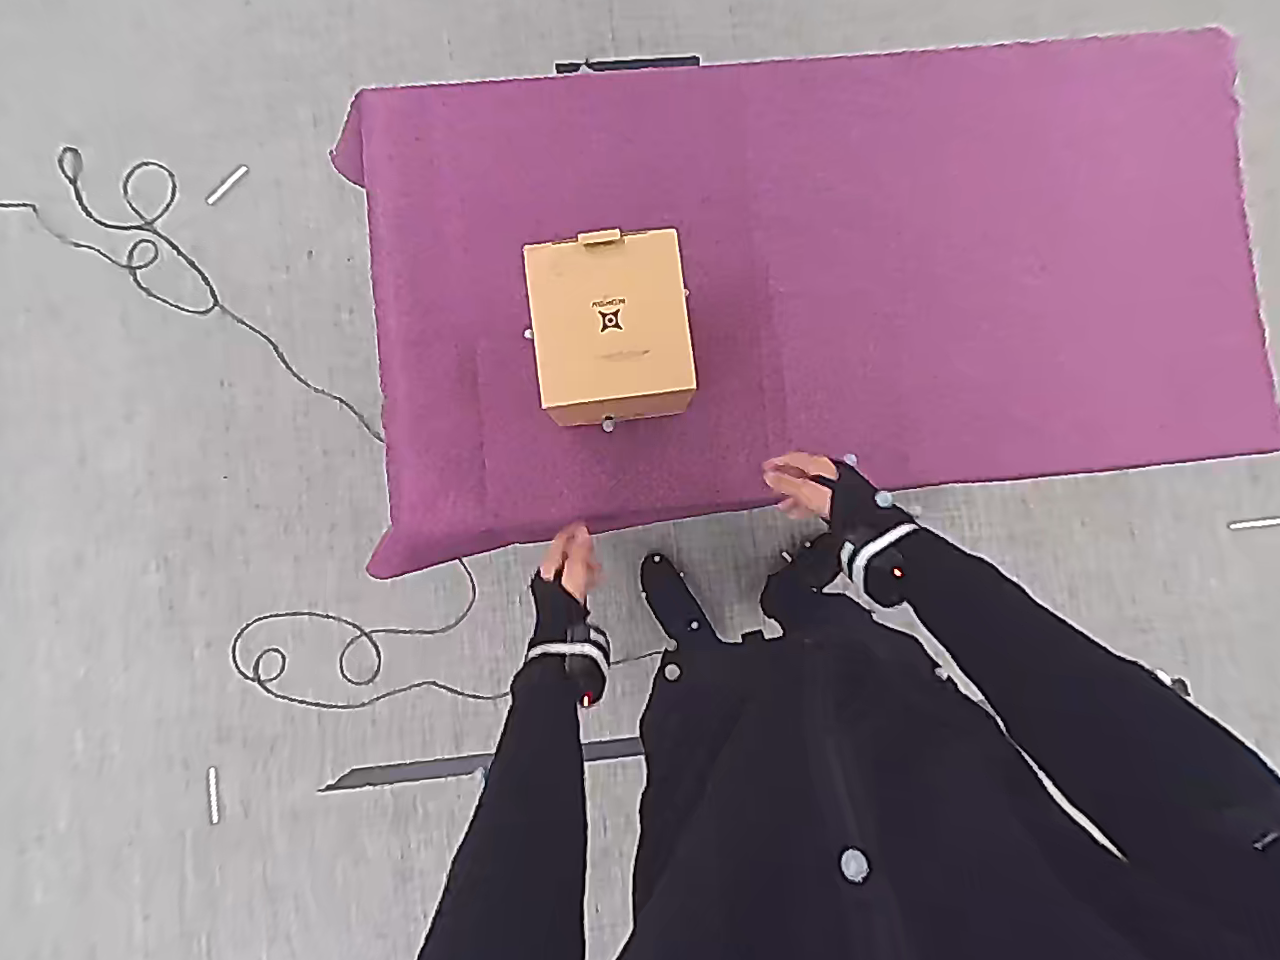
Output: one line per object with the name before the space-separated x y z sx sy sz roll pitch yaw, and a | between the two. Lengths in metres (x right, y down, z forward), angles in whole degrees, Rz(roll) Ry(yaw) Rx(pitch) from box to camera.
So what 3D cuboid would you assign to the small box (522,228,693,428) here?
small box | -0.037 -0.166 0.639 0.168 0.176 0.179 -7 88 -1
